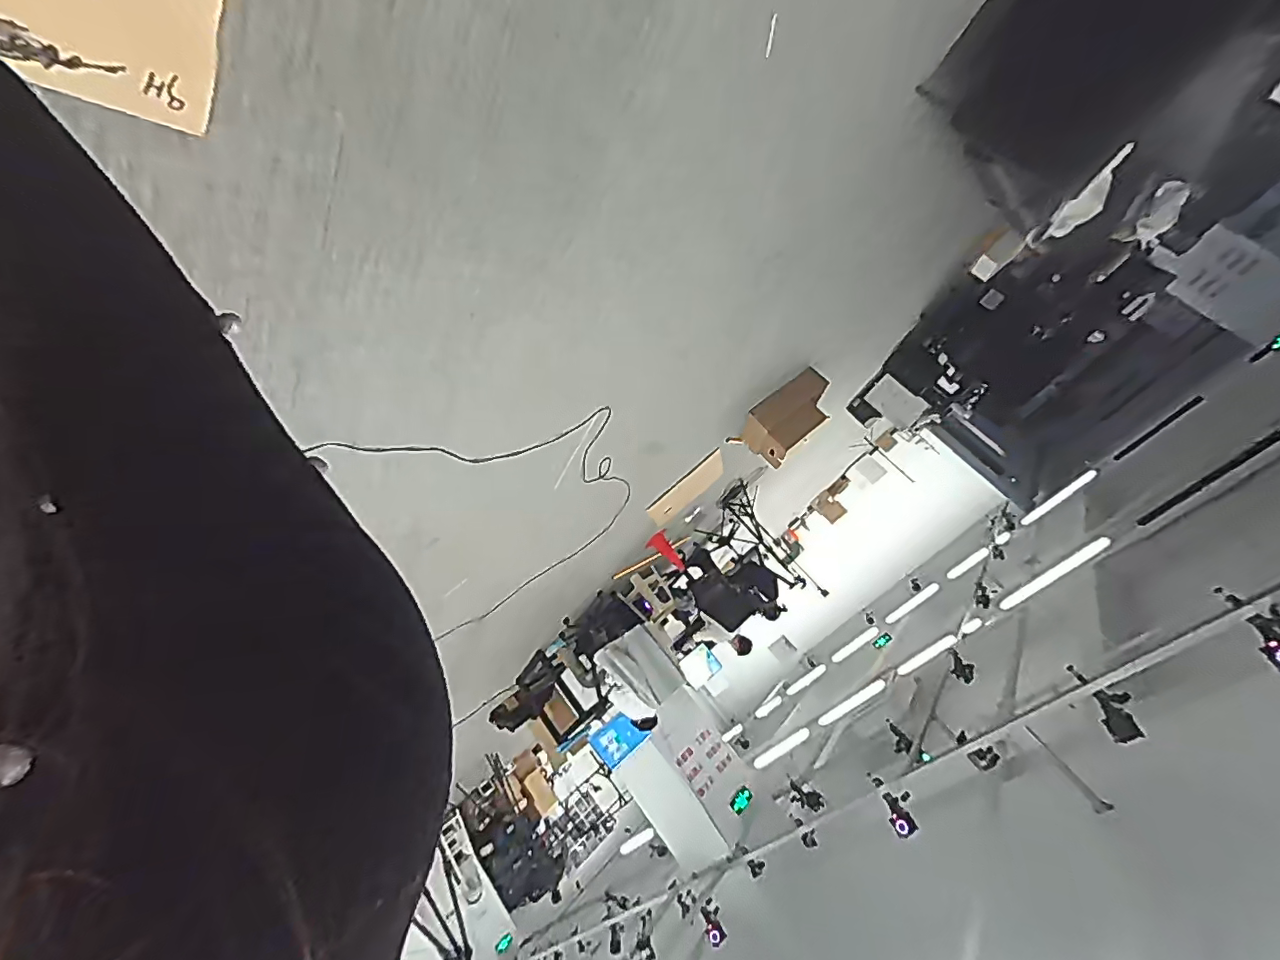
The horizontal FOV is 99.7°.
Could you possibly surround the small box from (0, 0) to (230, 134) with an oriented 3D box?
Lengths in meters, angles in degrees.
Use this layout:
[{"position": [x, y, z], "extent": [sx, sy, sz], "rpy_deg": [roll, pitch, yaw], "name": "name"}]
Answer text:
[{"position": [-0.398, -0.381, 0.352], "extent": [0.168, 0.176, 0.179], "rpy_deg": [-14, 145, -55], "name": "small box"}]
